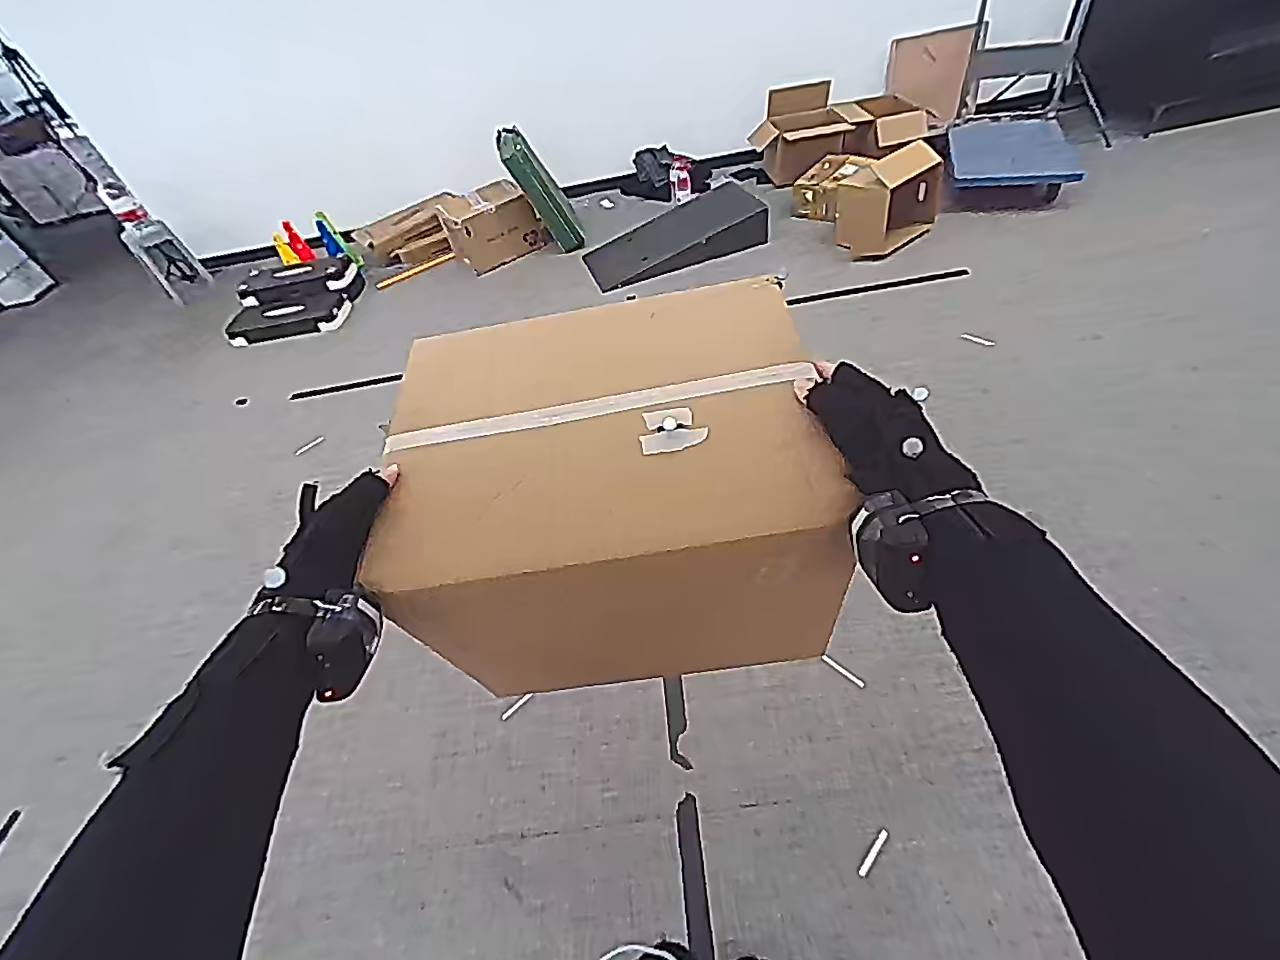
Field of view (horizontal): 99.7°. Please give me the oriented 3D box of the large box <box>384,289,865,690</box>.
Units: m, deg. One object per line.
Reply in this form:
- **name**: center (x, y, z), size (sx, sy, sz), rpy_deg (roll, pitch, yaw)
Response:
- **large box**: center (-0.012, 0.026, 0.639), size (0.408, 0.320, 0.320), rpy_deg (-9, 54, 3)
